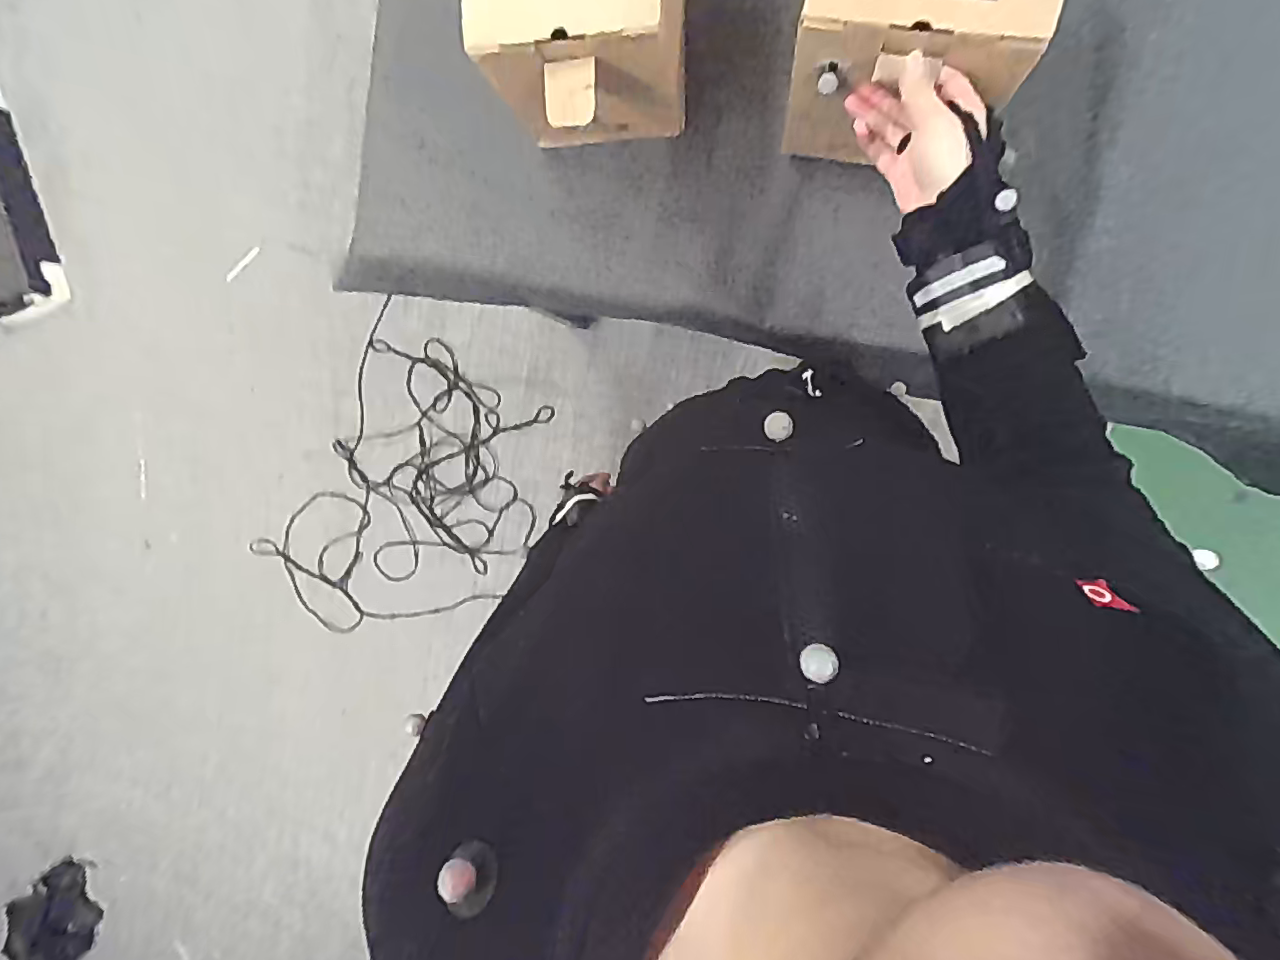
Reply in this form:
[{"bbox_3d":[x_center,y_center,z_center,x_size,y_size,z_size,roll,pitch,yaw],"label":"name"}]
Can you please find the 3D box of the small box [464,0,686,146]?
[{"bbox_3d":[-0.048,-0.443,0.496,0.168,0.176,0.179,1,98,10],"label":"small box"}]
